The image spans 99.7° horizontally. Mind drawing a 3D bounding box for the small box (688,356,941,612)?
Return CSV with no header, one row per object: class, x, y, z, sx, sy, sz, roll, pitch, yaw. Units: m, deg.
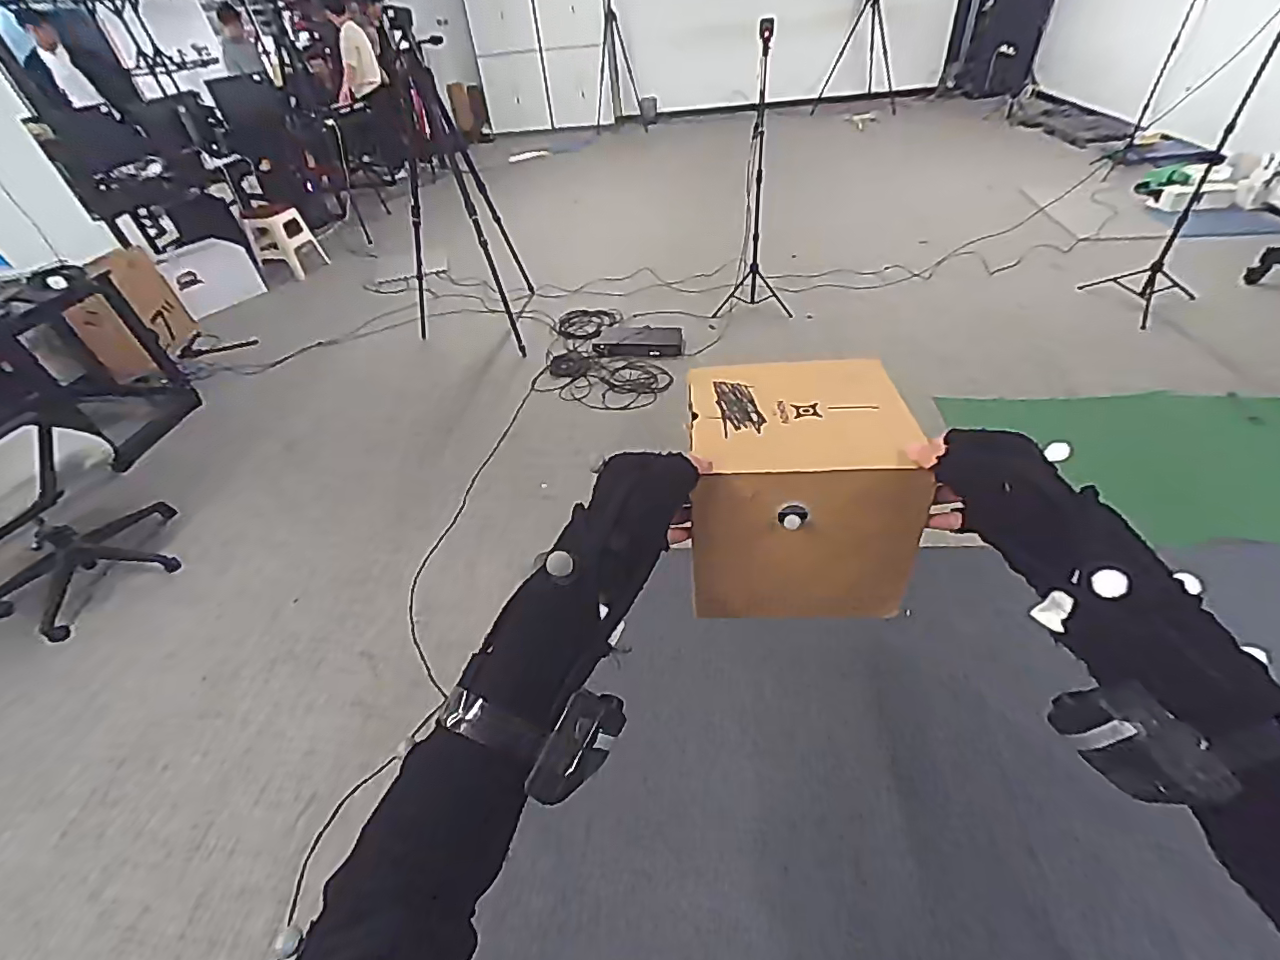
small box,0.136,0.005,0.490,0.179,0.176,0.168,-2,39,6
